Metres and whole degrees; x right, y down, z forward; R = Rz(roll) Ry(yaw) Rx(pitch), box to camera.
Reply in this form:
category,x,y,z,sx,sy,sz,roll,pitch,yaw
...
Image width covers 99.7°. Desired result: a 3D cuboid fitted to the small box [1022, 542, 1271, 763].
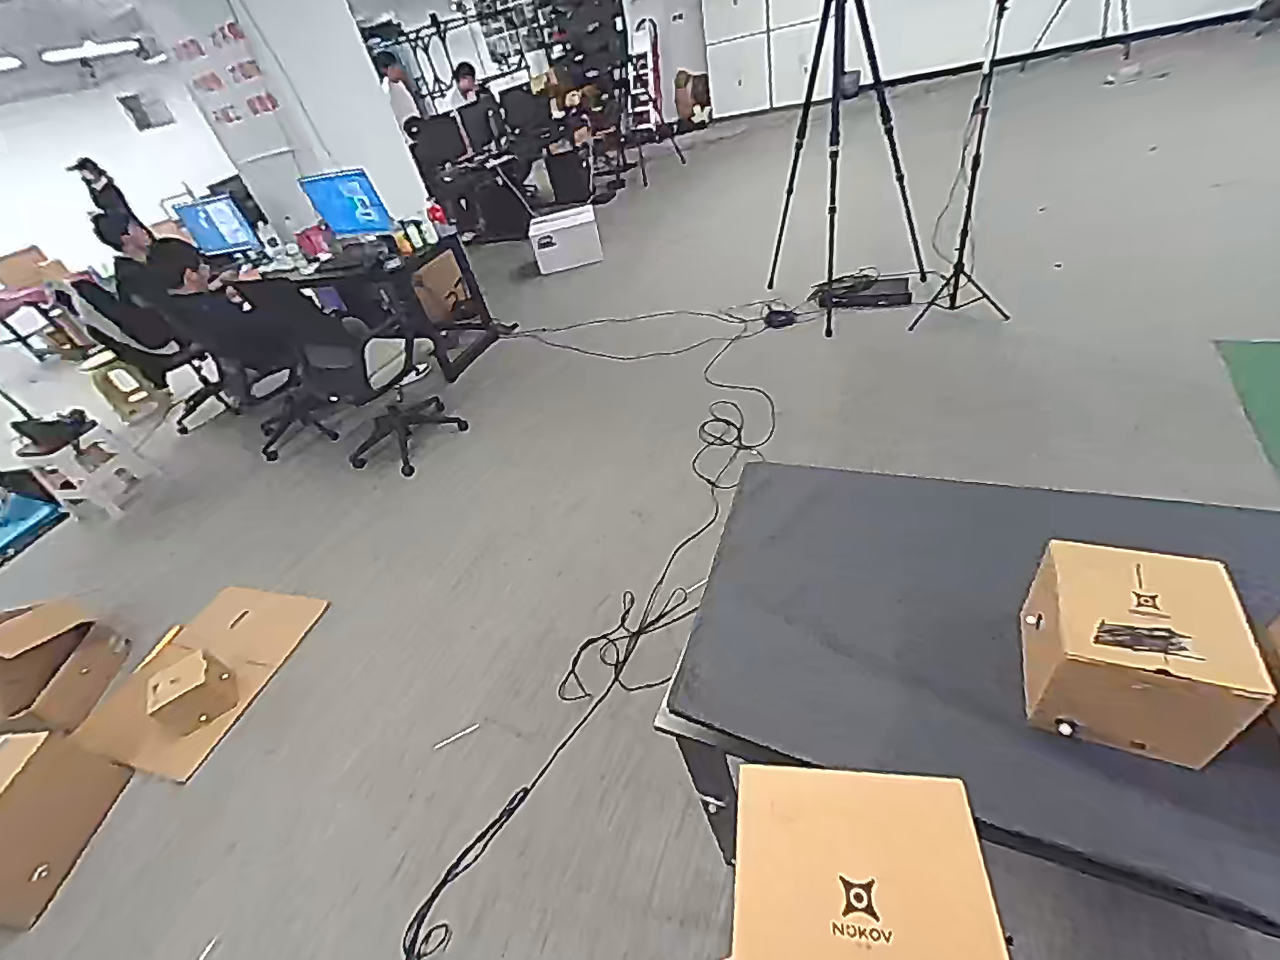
category,x,y,z,sx,sy,sz,roll,pitch,yaw
small box,0.580,0.204,0.652,0.168,0.176,0.179,8,44,26

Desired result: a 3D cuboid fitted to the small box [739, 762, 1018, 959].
category,x,y,z,sx,sy,sz,roll,pitch,yaw
small box,0.166,0.342,0.401,0.168,0.176,0.179,-4,38,16
